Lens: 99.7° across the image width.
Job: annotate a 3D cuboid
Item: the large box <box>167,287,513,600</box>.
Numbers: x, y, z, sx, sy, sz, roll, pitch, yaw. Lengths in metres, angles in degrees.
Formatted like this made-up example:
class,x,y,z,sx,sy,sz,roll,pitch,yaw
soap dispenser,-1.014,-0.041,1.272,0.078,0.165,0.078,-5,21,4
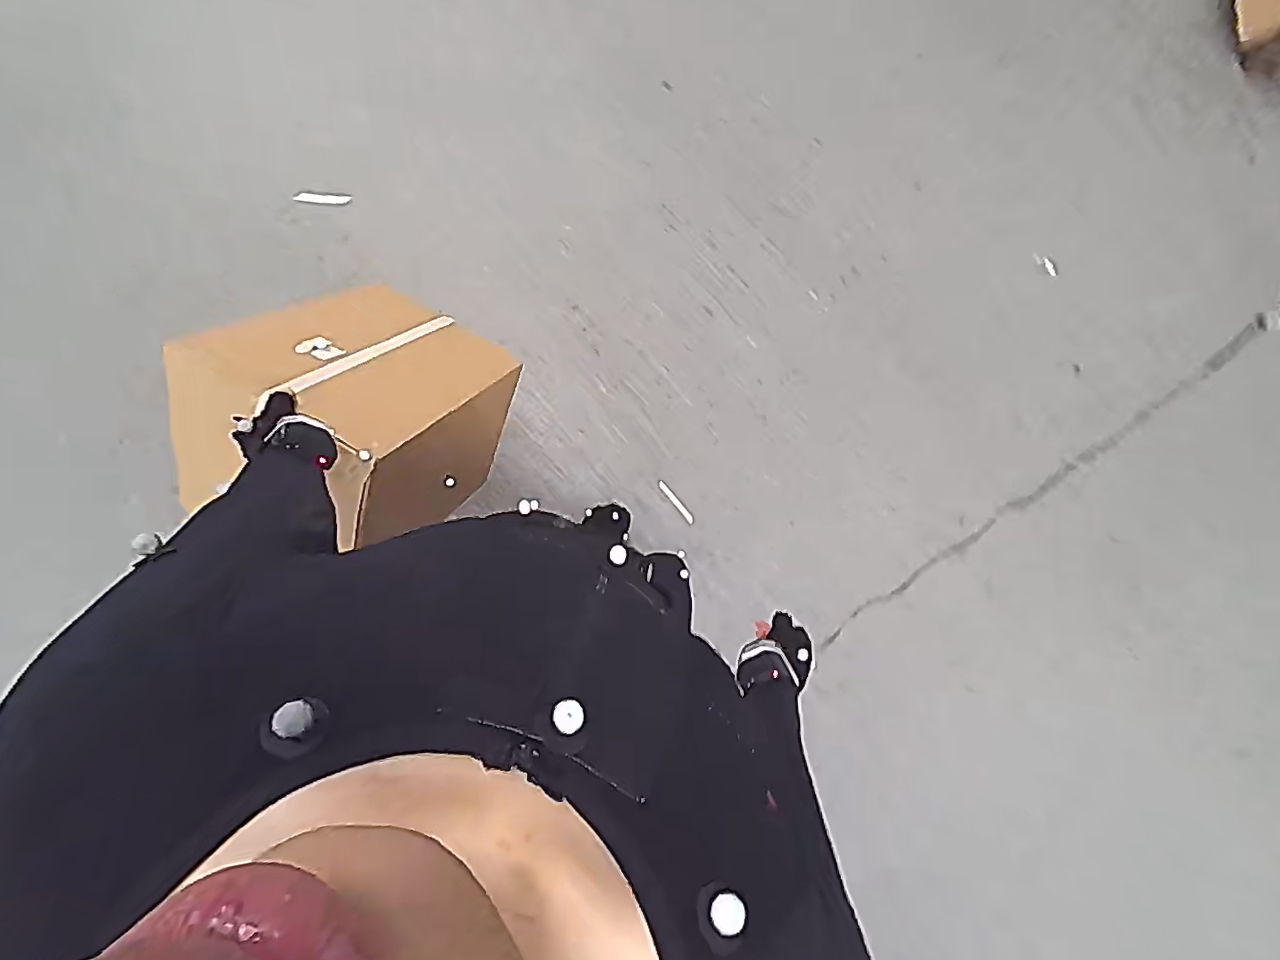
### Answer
class,x,y,z,sx,sy,sz,roll,pitch,yaw
large box,-0.478,-0.081,0.939,0.320,0.408,0.320,28,126,1
